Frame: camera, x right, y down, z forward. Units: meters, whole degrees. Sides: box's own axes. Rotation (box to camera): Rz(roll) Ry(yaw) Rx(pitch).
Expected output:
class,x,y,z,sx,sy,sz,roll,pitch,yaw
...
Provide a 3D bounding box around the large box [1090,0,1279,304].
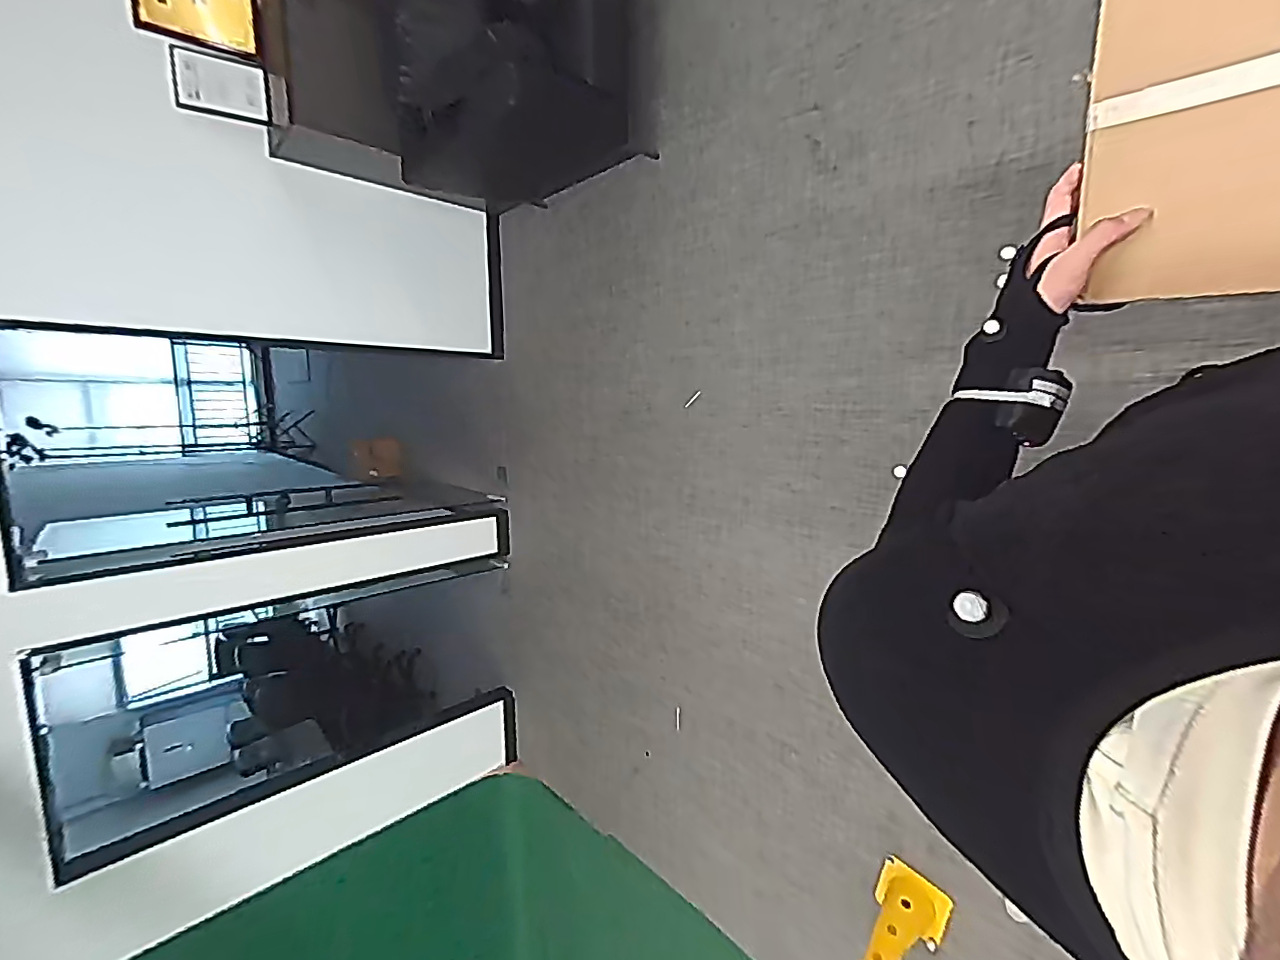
class,x,y,z,sx,sy,sz,roll,pitch,yaw
large box,0.644,-0.333,0.421,0.408,0.320,0.320,10,116,46
